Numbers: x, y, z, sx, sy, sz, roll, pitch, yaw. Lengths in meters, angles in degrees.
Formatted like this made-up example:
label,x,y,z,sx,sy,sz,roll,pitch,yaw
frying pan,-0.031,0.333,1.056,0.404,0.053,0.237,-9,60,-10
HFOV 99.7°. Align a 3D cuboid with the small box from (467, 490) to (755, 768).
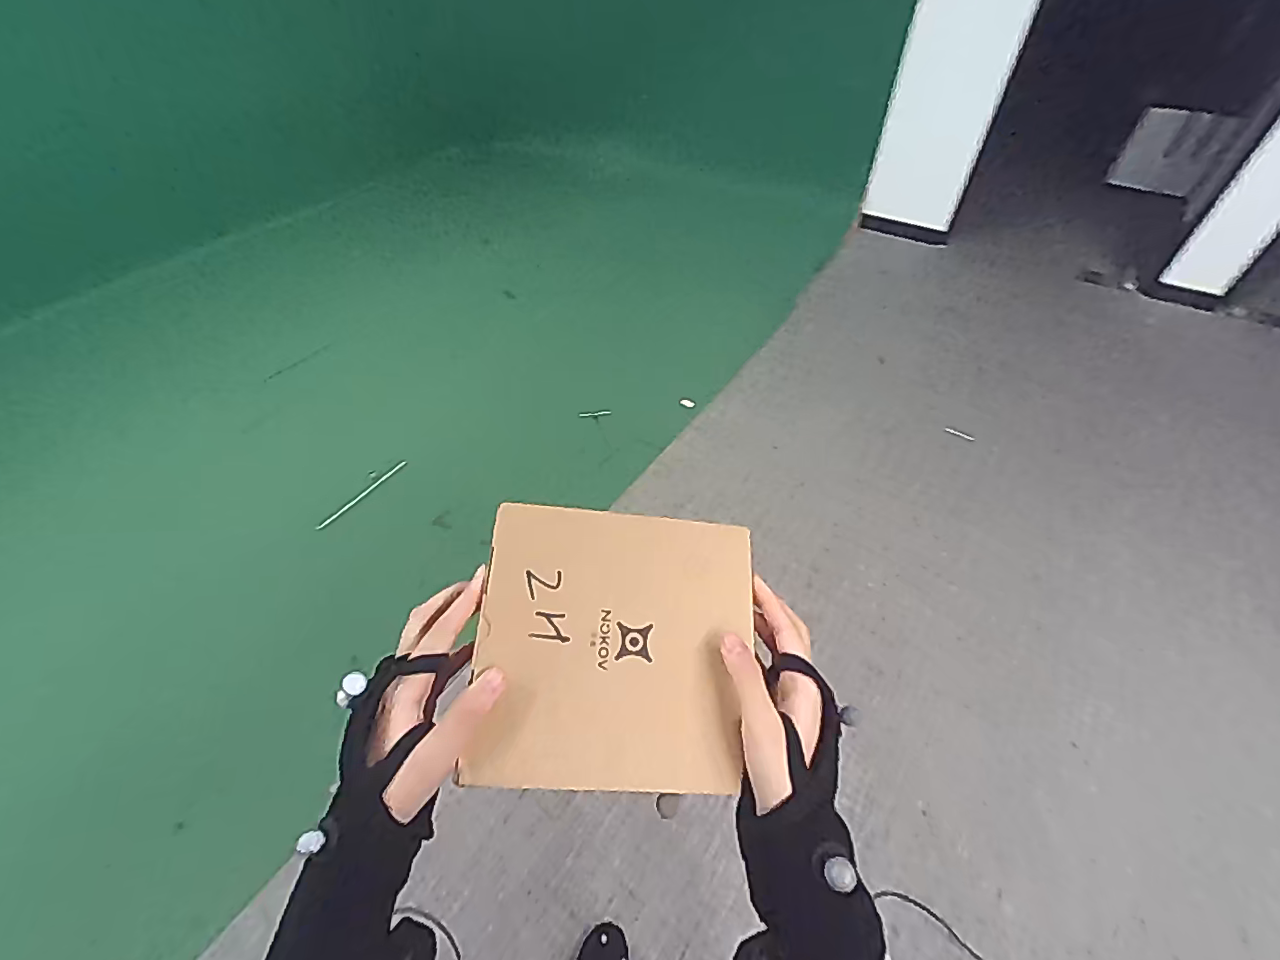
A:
label,x,y,z,sx,sy,sz,roll,pitch,yaw
small box,-0.022,0.123,0.426,0.179,0.176,0.168,7,64,-6
